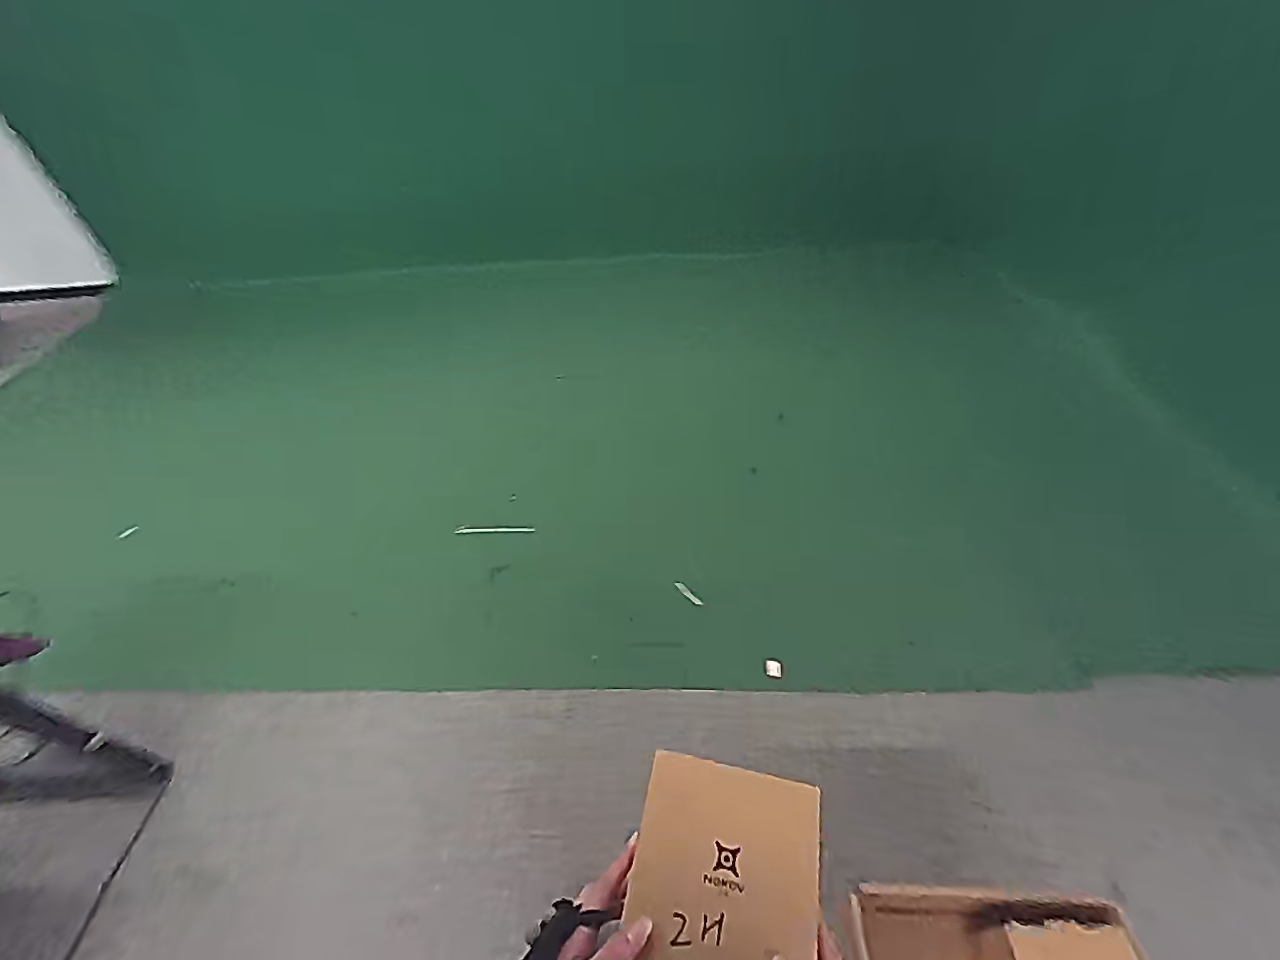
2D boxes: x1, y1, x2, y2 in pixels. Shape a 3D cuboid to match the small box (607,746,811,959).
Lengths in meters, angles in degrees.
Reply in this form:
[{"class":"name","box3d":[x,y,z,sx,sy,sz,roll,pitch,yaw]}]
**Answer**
[{"class":"small box","box3d":[0.071,0.400,0.546,0.168,0.176,0.179,8,49,10]}]
